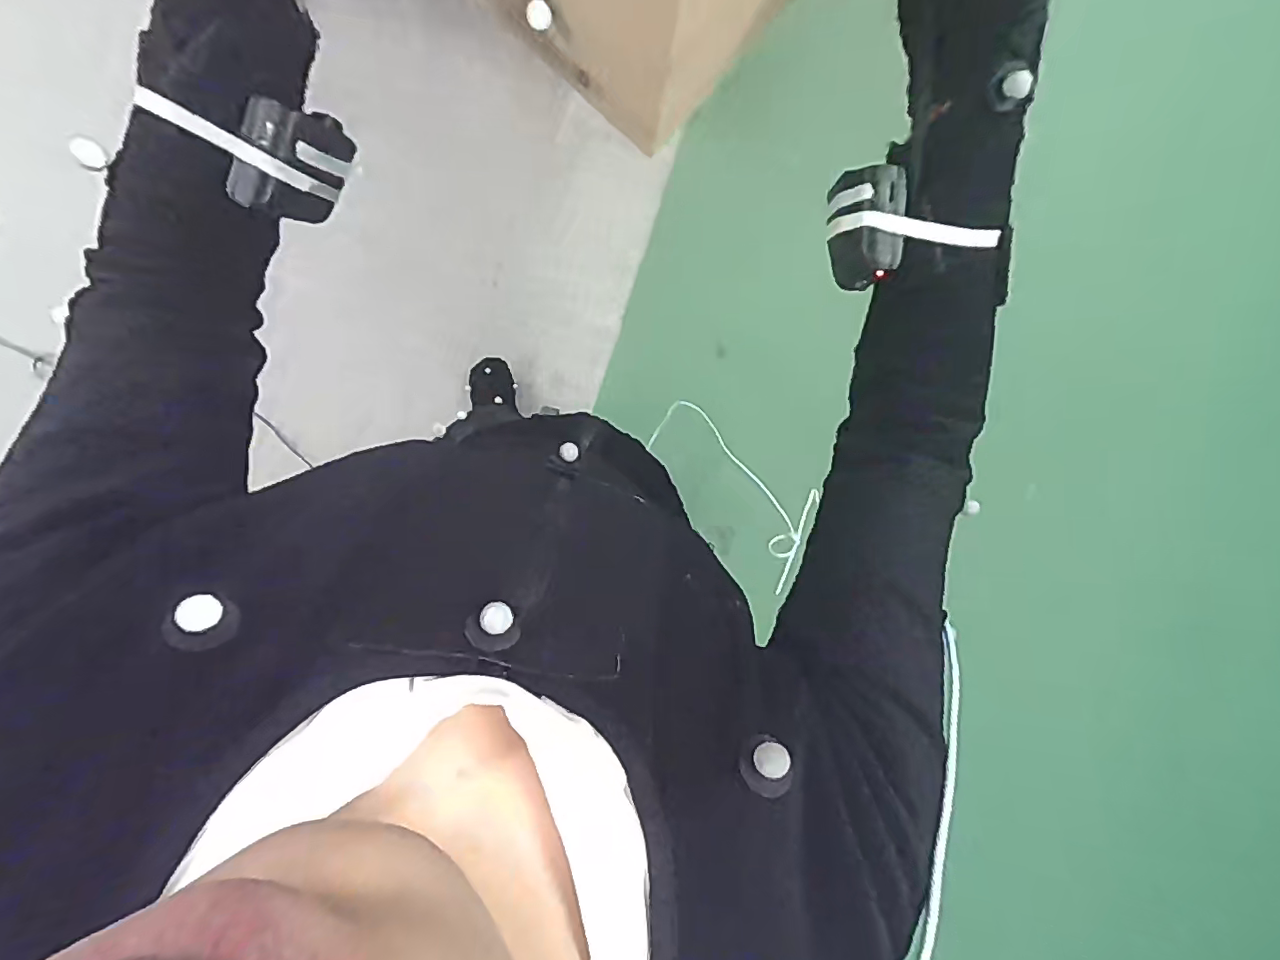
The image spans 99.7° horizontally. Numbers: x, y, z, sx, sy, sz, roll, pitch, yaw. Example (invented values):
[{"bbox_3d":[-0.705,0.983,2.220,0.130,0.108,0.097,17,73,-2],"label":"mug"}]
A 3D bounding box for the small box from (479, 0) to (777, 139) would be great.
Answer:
[{"bbox_3d":[0.004,-0.339,0.283,0.168,0.176,0.179,41,87,-2],"label":"small box"}]
